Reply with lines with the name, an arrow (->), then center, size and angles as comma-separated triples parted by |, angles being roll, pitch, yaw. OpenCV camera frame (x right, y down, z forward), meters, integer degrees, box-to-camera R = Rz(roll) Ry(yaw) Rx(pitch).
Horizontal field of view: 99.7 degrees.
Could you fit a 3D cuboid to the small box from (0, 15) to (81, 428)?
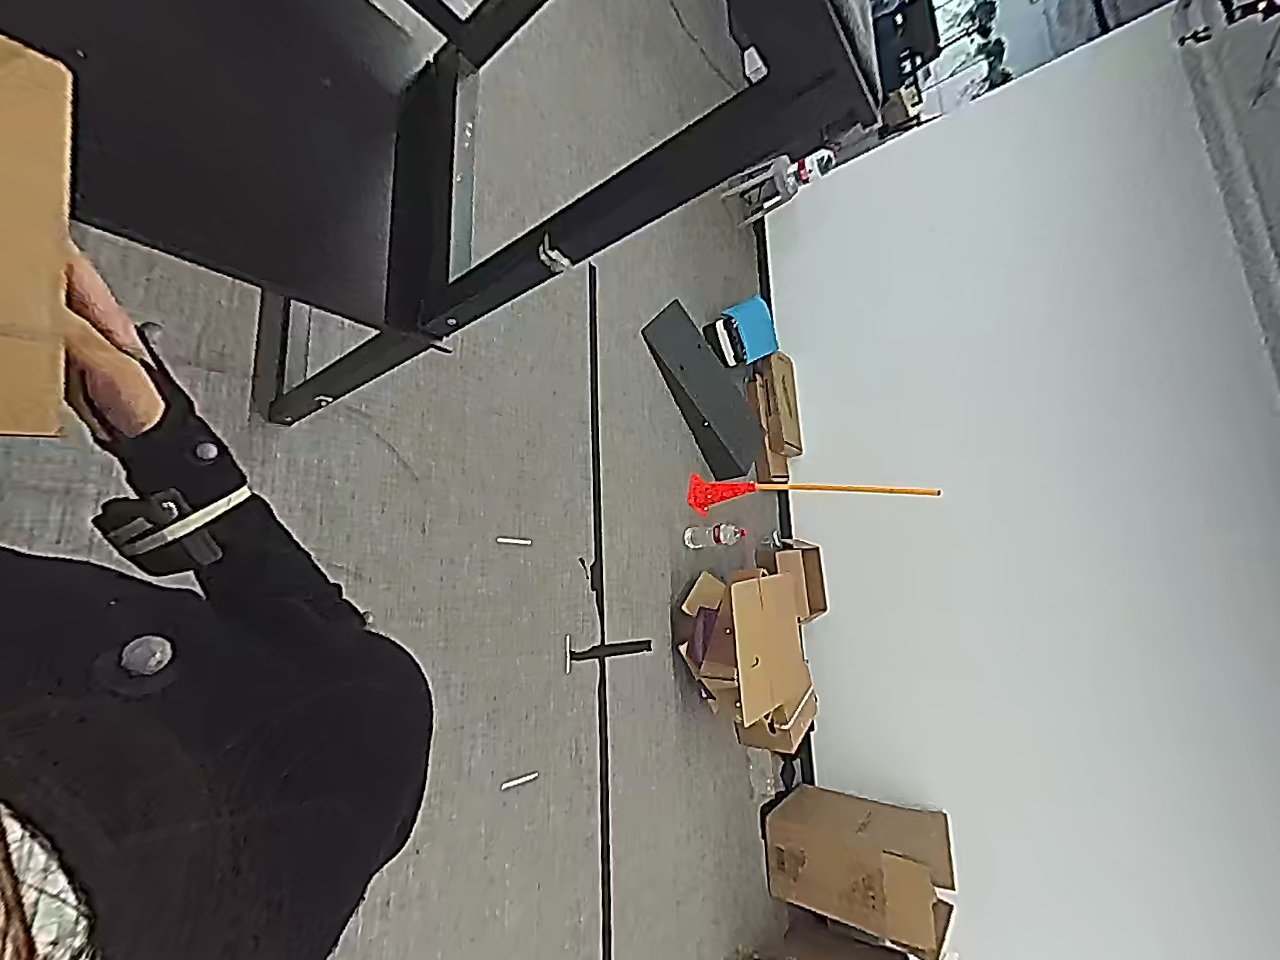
small box -> -0.376, -0.122, 0.222 | 0.168, 0.176, 0.179 | -1, 101, -60
